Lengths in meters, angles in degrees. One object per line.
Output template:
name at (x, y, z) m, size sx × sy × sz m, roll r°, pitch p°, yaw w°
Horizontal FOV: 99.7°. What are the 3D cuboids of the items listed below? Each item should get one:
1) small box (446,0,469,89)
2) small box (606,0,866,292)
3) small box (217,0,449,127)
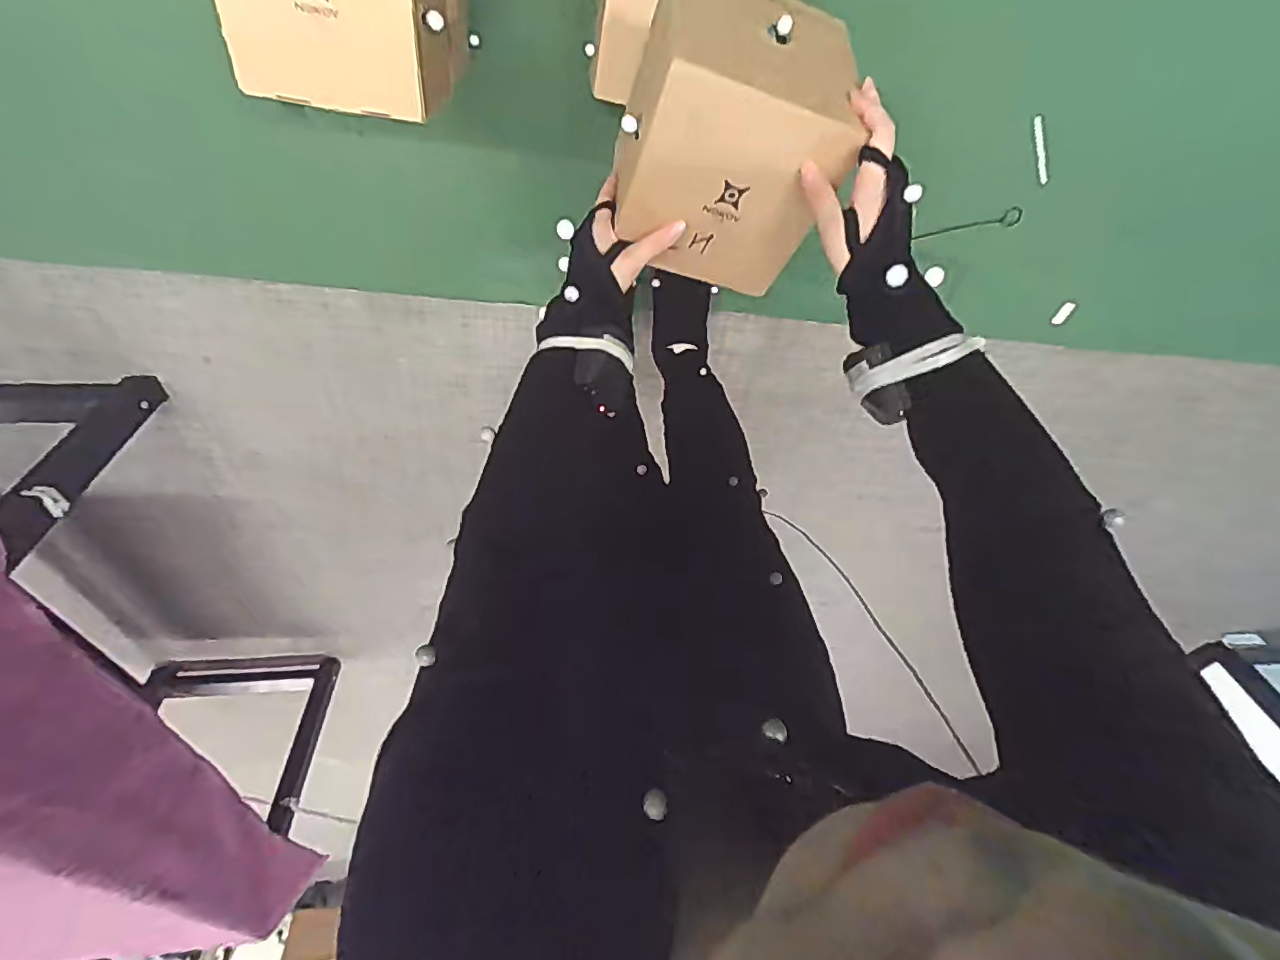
small box at (-0.303, -0.591, 0.641) m, size 0.179 × 0.176 × 0.168 m, roll 4°, pitch 133°, yaw -9°
small box at (0.071, -0.314, 0.497) m, size 0.168 × 0.176 × 0.179 m, roll 10°, pitch 152°, yaw -16°
small box at (-0.288, -0.476, 0.526) m, size 0.168 × 0.176 × 0.179 m, roll 4°, pitch 134°, yaw -10°
